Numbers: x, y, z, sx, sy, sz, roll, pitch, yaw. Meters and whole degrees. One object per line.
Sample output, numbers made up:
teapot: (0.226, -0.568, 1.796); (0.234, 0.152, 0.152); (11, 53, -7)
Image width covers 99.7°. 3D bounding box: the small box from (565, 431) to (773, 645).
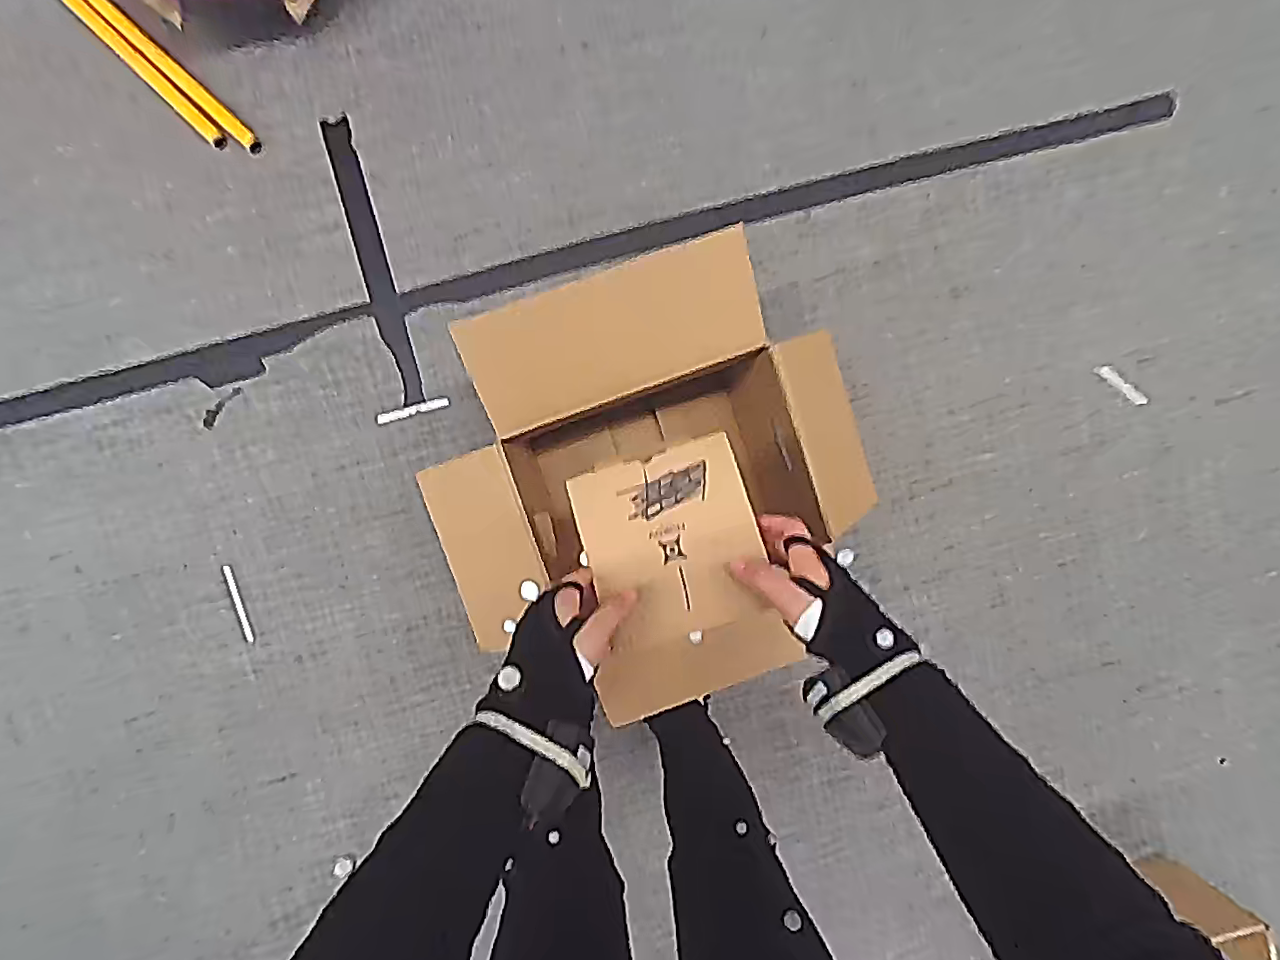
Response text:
small box: (0.030, 0.068, 0.599); (0.168, 0.176, 0.179); (-17, 79, 2)
